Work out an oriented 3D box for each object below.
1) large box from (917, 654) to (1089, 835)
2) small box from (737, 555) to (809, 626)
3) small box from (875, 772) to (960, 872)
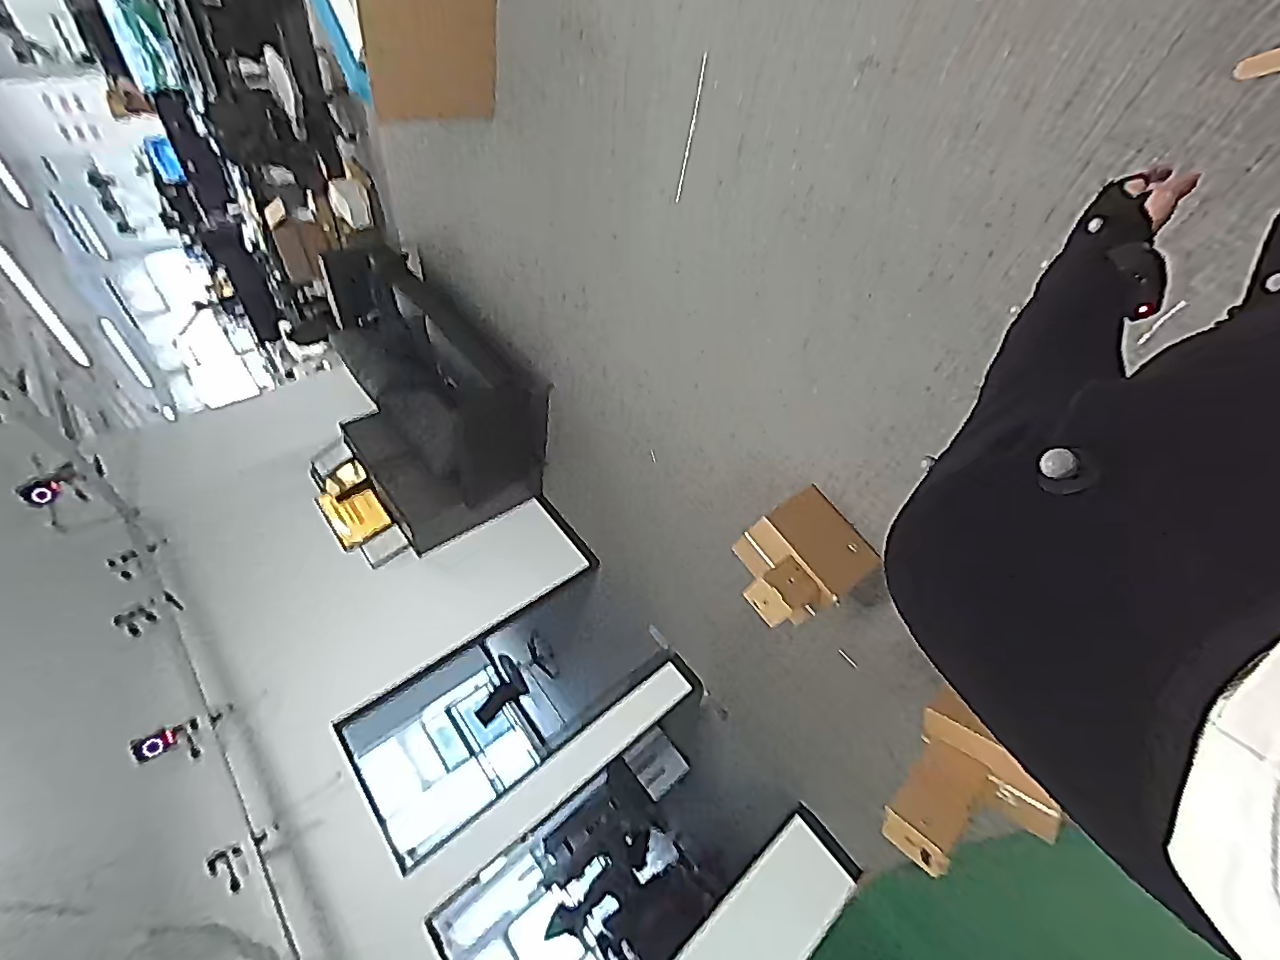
[{"bbox_3d":[1.219,0.874,1.845,0.408,0.320,0.320,18,130,47],"label":"large box"},{"bbox_3d":[0.505,0.413,2.034,0.168,0.176,0.179,50,146,18],"label":"small box"},{"bbox_3d":[0.876,1.071,1.707,0.179,0.176,0.168,27,135,43],"label":"small box"}]
